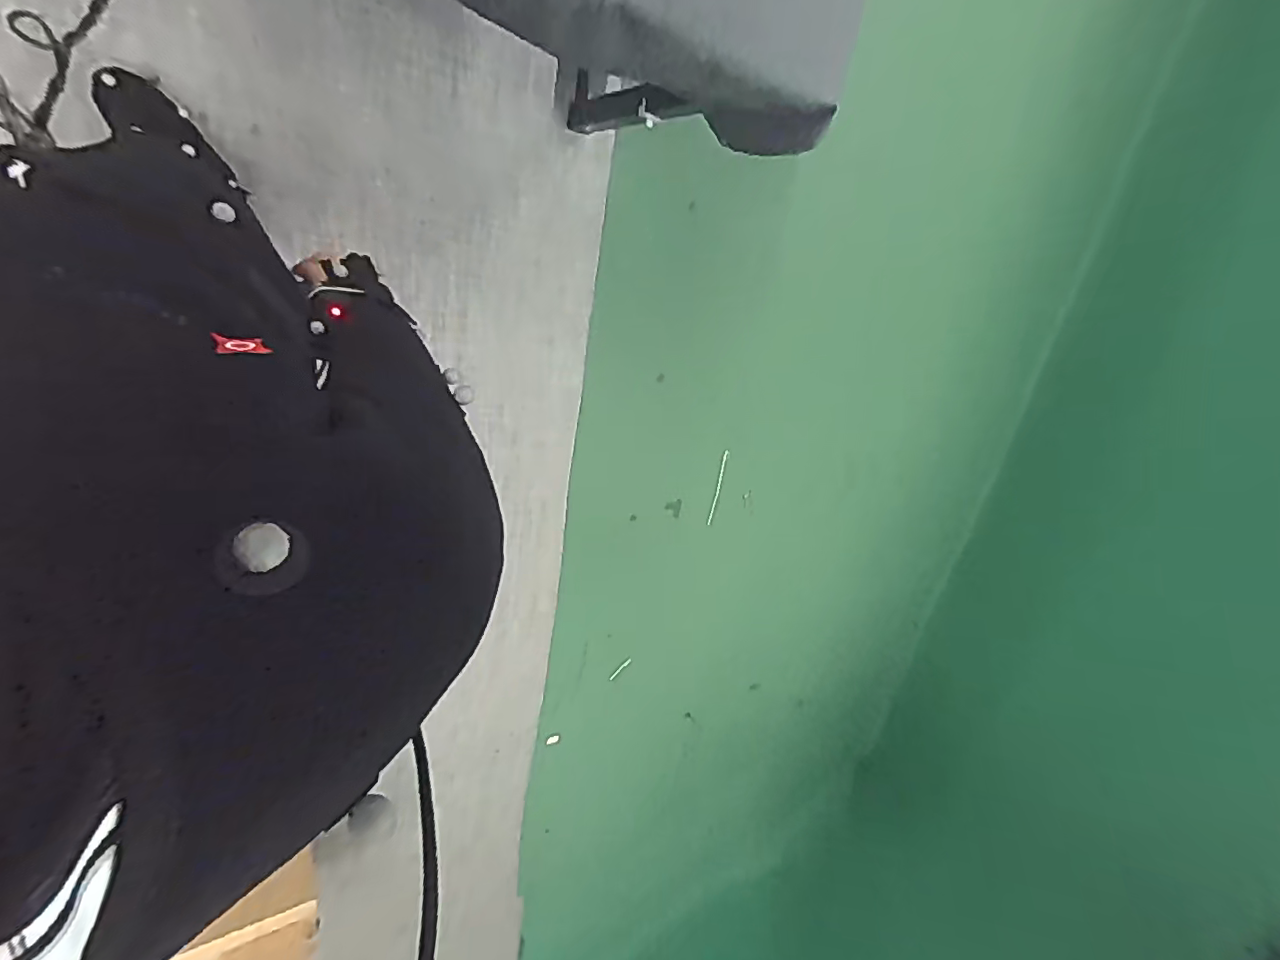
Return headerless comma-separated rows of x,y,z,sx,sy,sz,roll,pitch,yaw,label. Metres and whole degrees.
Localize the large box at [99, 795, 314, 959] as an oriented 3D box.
-1.098,1.122,1.415,0.408,0.320,0.320,-1,113,-36,large box
